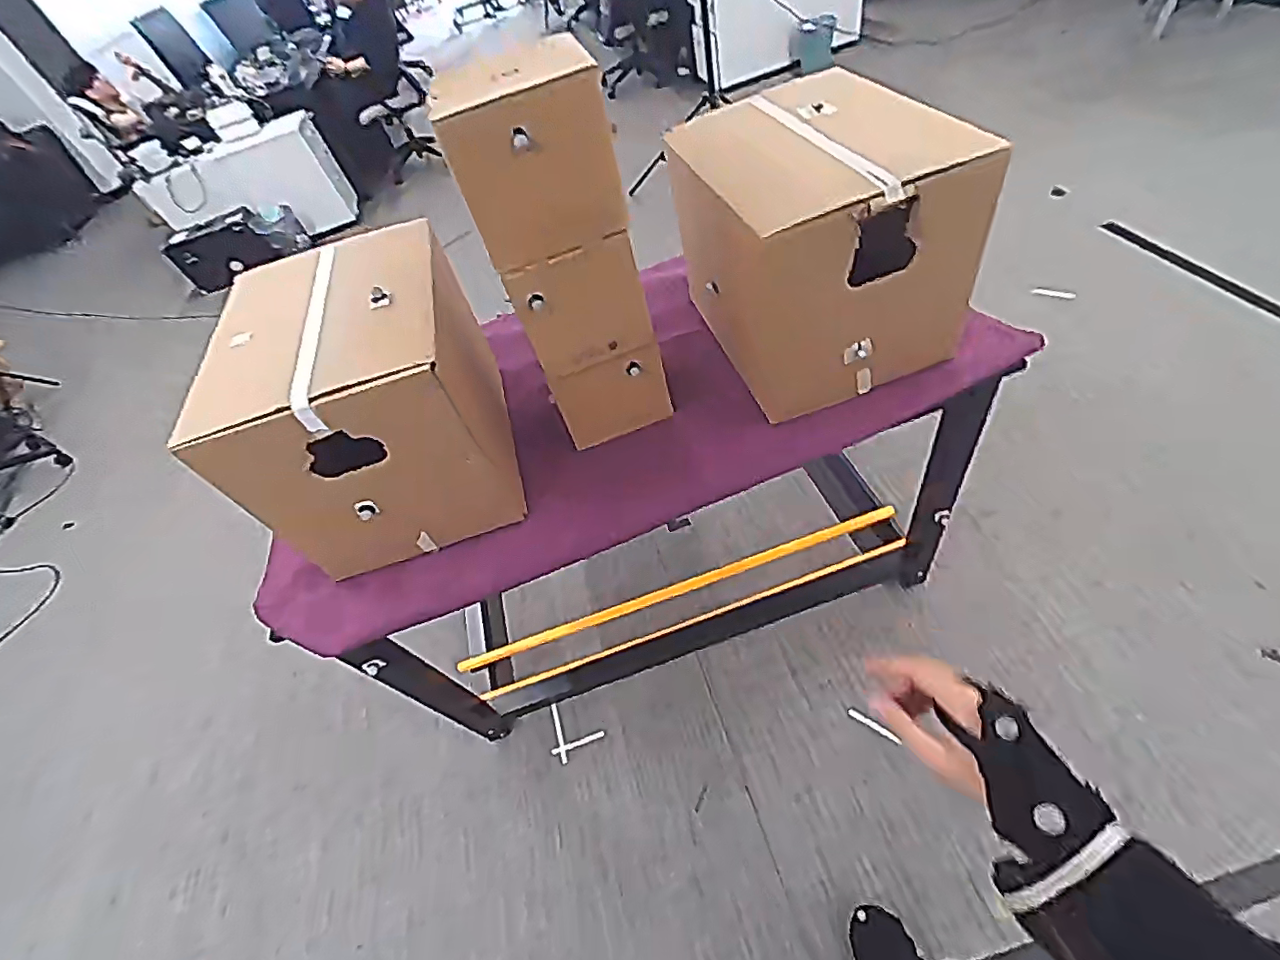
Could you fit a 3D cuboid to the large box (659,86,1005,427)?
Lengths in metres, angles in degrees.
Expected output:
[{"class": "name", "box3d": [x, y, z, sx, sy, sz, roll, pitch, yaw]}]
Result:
[{"class": "large box", "box3d": [0.262, -0.358, 0.859, 0.320, 0.320, 0.408, -20, 48, -1]}]

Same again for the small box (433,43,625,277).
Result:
[{"class": "small box", "box3d": [-0.124, -0.375, 0.643, 0.179, 0.176, 0.168, -20, 50, 0]}]
